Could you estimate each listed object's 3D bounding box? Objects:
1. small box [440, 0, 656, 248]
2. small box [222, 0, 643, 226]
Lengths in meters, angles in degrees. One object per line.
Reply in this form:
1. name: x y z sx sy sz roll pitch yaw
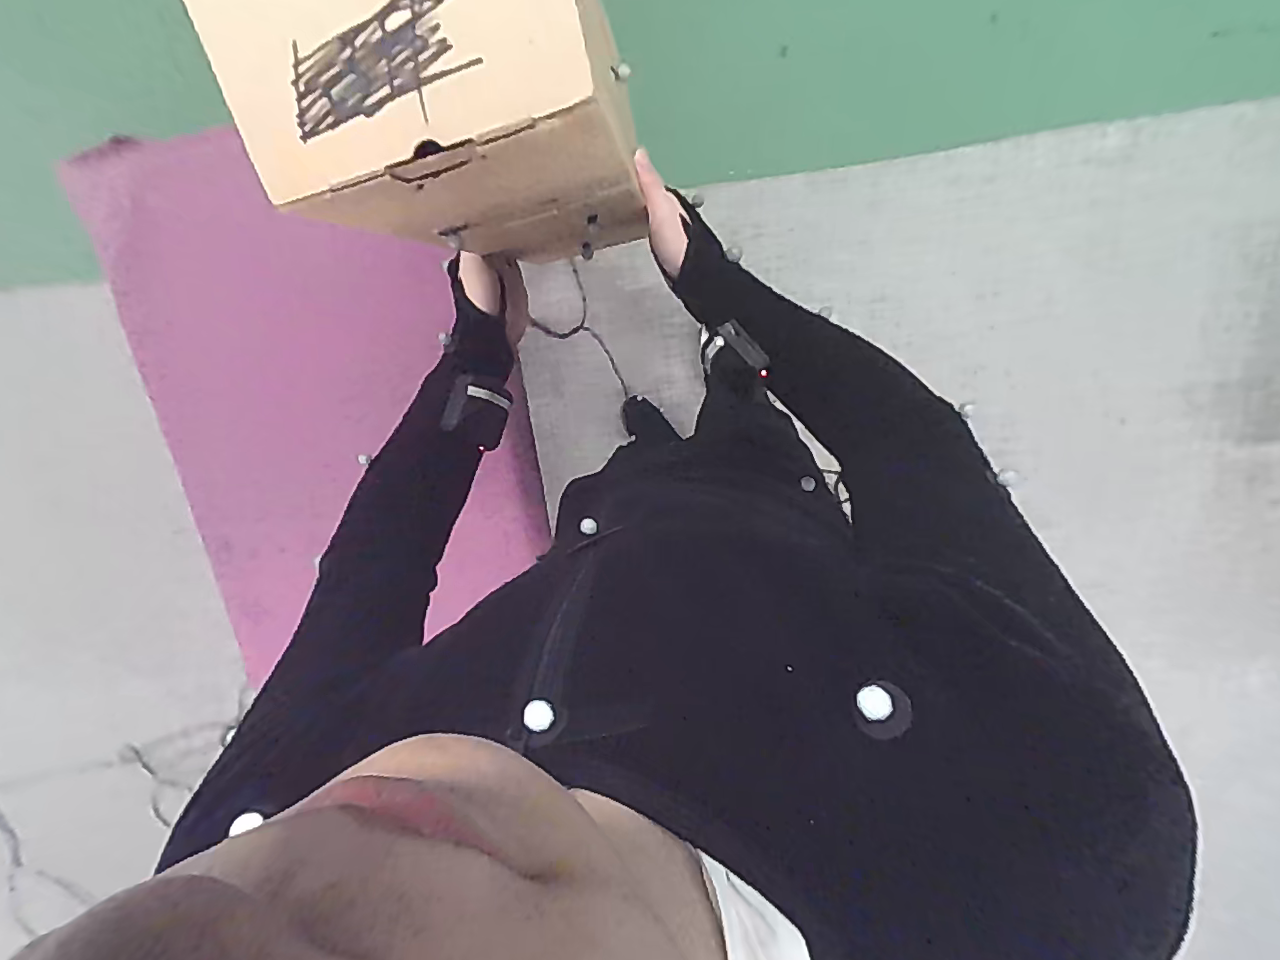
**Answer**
1. small box: -0.083 -0.304 0.455 0.168 0.176 0.179 -10 107 7
2. small box: -0.097 -0.254 0.299 0.168 0.176 0.179 -11 106 7
